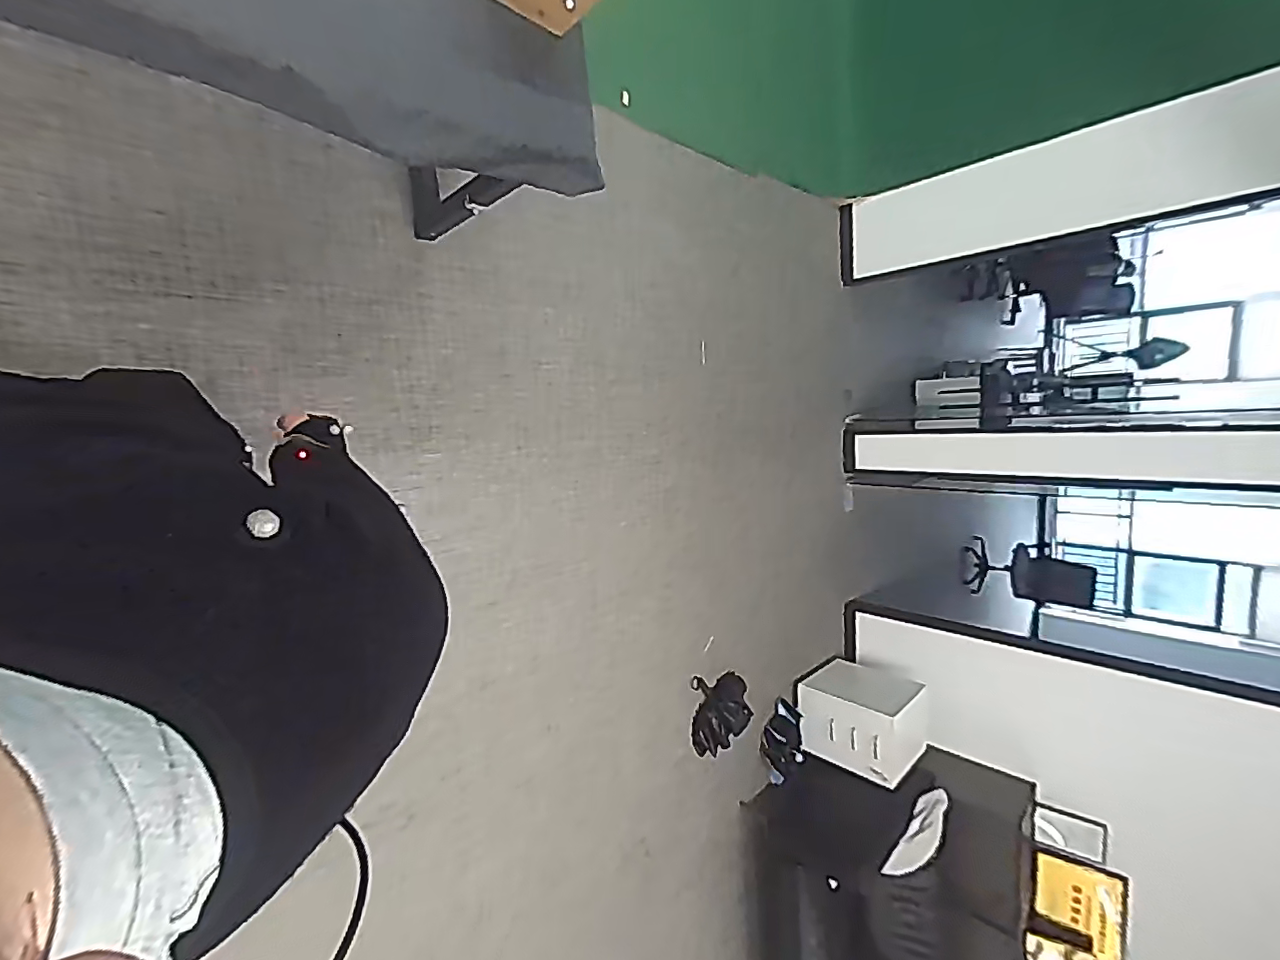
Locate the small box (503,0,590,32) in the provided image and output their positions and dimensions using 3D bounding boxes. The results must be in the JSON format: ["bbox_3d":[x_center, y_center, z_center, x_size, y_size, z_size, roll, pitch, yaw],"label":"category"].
[{"bbox_3d":[-0.159,-0.907,0.898,0.168,0.176,0.179,-9,97,-45],"label":"small box"}]
